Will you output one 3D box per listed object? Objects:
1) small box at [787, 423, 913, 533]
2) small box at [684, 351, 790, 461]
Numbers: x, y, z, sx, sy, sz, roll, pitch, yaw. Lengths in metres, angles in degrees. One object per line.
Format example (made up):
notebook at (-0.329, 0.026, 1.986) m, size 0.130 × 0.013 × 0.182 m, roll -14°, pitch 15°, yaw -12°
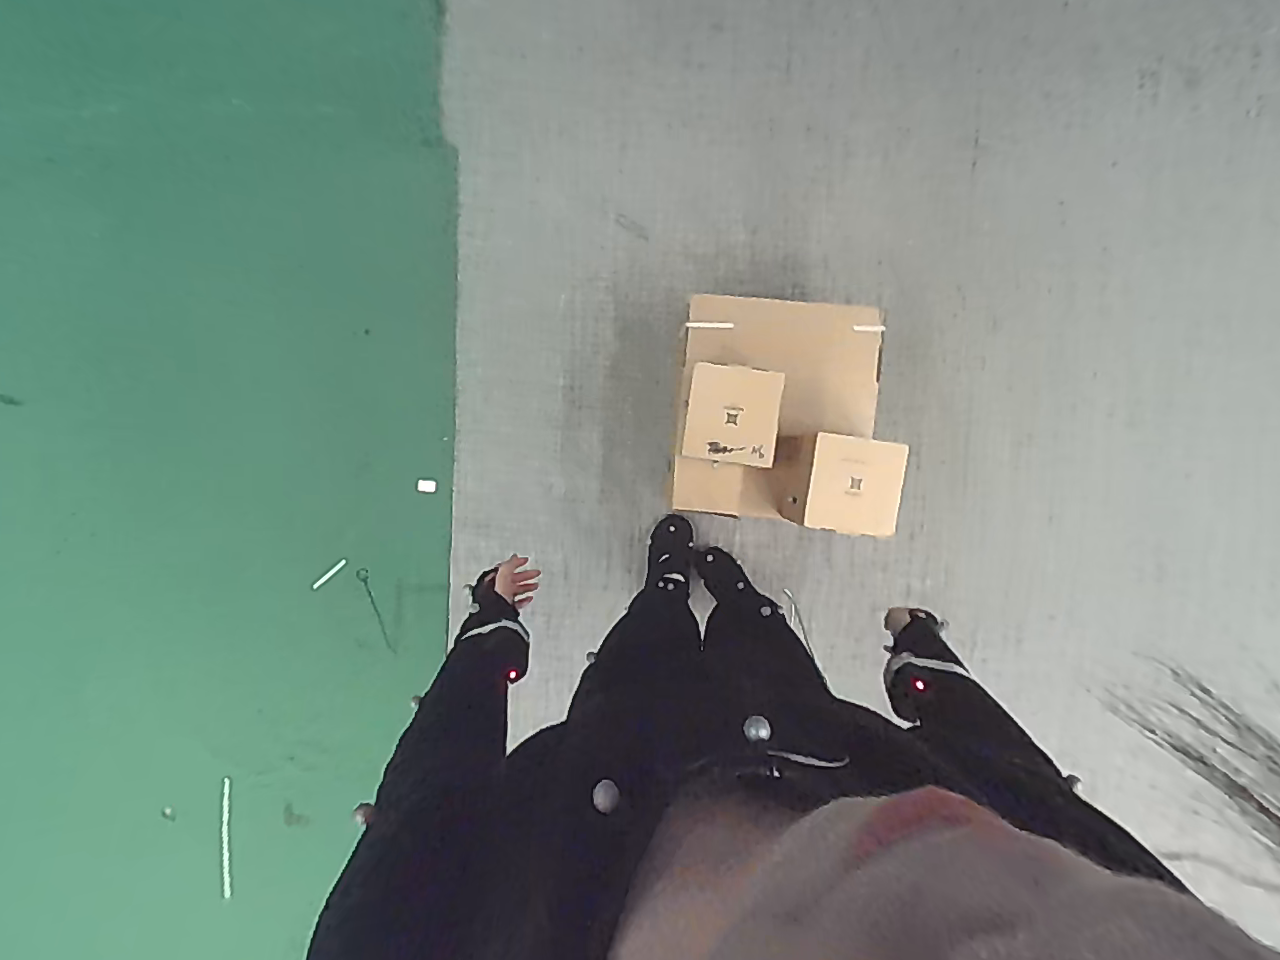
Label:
small box at (0.391, -0.007, 1.037) m, size 0.168 × 0.176 × 0.179 m, roll 9°, pitch 93°, yaw 1°
small box at (0.178, -0.134, 1.042) m, size 0.168 × 0.176 × 0.179 m, roll 8°, pitch 92°, yaw 4°
